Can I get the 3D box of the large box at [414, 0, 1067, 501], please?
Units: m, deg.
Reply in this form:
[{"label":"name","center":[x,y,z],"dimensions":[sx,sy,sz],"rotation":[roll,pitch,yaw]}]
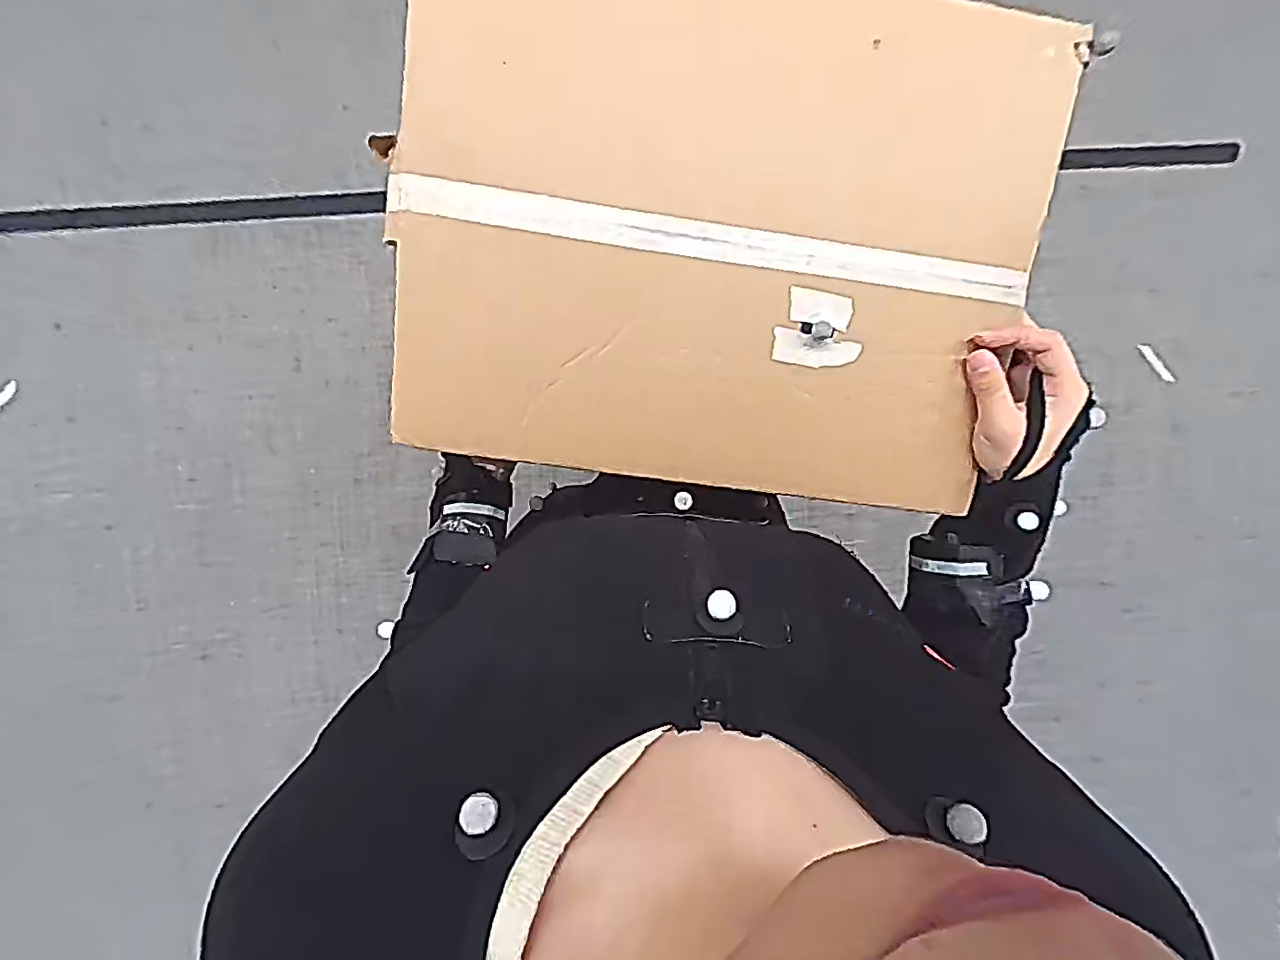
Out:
[{"label":"large box","center":[0.048,-0.181,0.499],"dimensions":[0.408,0.320,0.320],"rotation":[7,102,-6]}]
